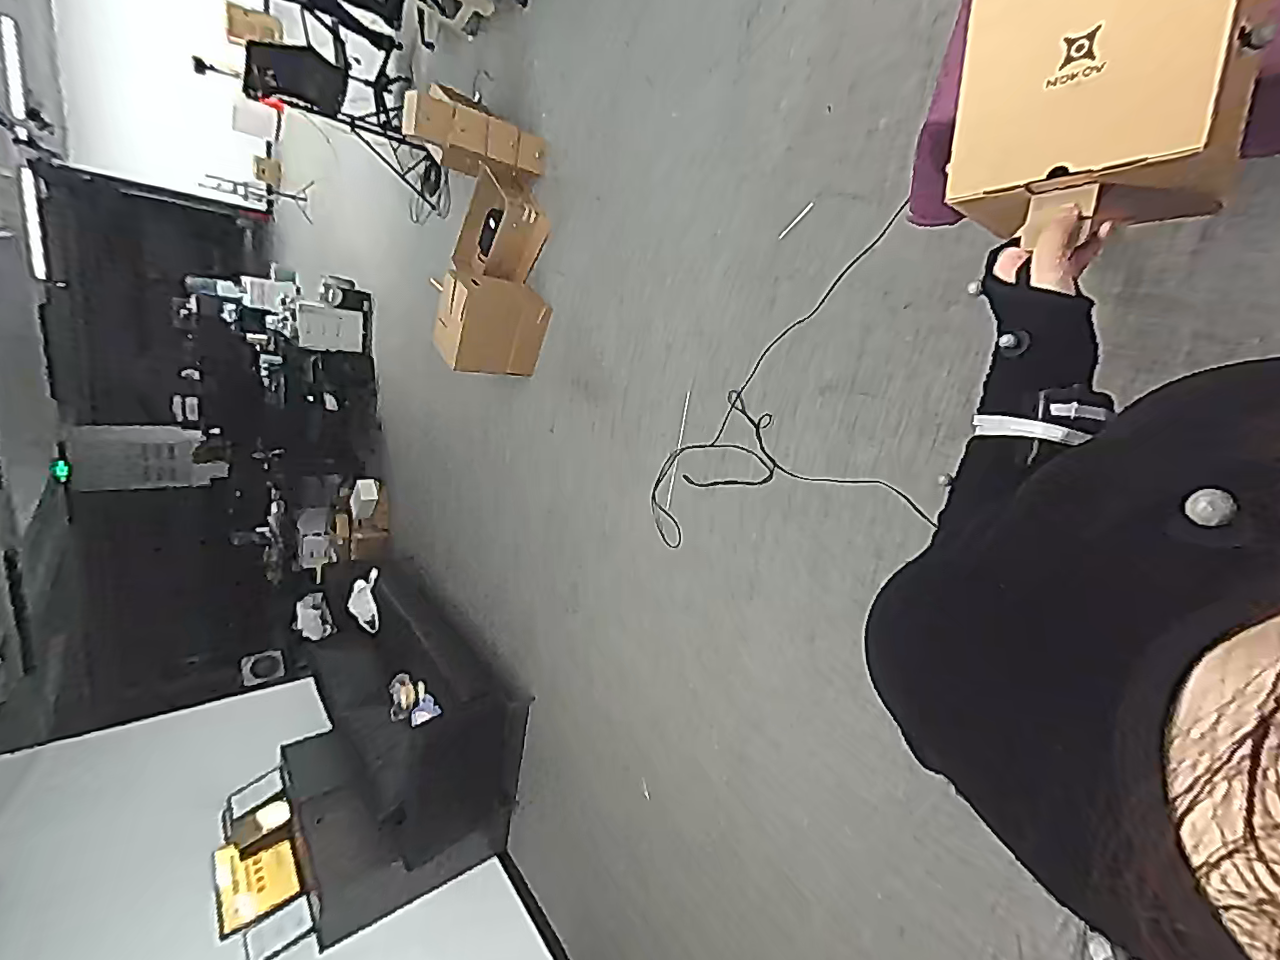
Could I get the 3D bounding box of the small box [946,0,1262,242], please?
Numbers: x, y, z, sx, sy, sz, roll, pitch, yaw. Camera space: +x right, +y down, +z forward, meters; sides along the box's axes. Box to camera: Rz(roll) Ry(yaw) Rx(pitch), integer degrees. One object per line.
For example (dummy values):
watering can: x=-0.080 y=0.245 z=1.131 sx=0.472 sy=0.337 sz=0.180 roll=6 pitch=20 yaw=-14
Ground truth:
small box: x=0.392 y=-0.322 z=0.461 sx=0.168 sy=0.176 sz=0.179 roll=15 pitch=106 yaw=47
